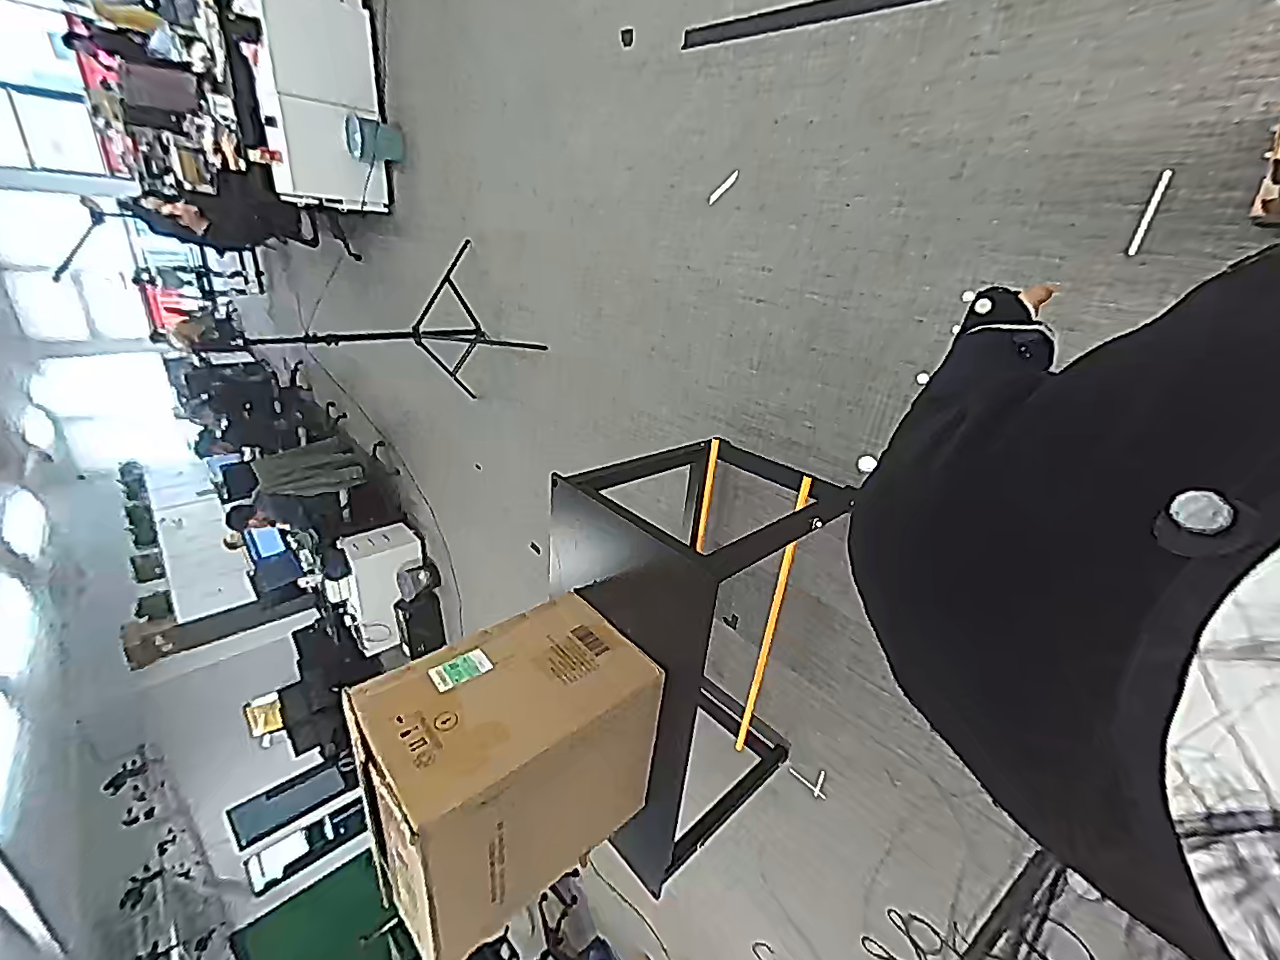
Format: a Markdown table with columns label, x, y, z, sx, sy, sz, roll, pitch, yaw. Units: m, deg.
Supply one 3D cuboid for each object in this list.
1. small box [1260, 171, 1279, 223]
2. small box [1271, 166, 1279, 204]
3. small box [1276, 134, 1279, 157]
| label | x | y | z | sx | sy | sz | roll | pitch | yaw |
| --- | --- | --- | --- | --- | --- | --- | --- | --- | --- |
| small box | 1.099 | -0.491 | 0.819 | 0.168 | 0.176 | 0.179 | 26 | 123 | 43 |
| small box | 0.979 | -0.465 | 0.708 | 0.168 | 0.176 | 0.179 | 21 | 118 | 46 |
| small box | 0.739 | -0.389 | 0.495 | 0.179 | 0.176 | 0.168 | 17 | 115 | 46 |
